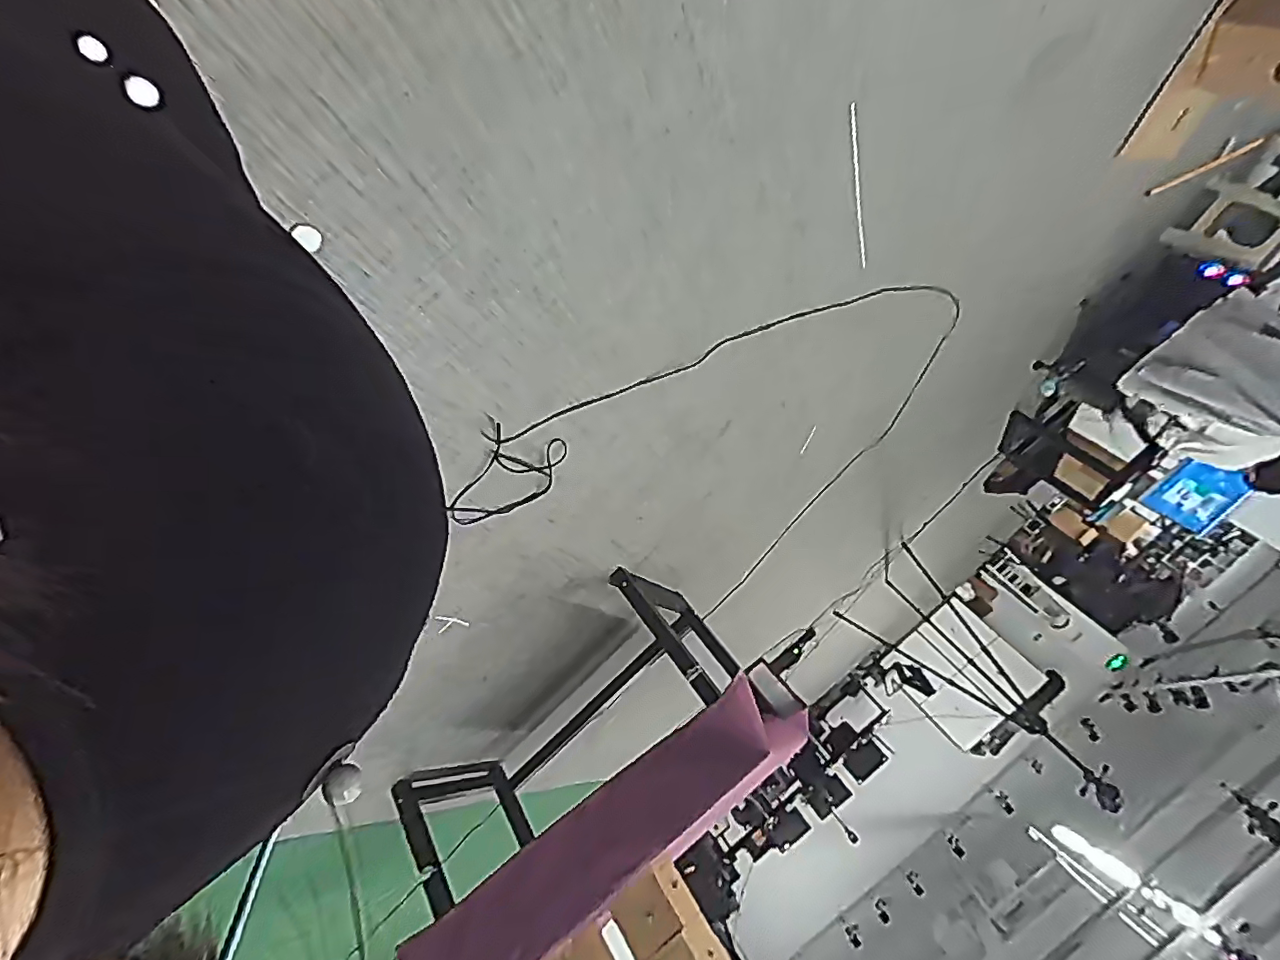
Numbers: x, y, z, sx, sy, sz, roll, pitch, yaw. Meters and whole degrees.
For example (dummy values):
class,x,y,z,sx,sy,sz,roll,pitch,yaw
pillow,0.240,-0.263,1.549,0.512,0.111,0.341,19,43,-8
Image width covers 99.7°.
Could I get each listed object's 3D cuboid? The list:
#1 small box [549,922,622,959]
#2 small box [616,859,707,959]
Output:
class,x,y,z,sx,sy,sz,roll,pitch,yaw
small box,-0.160,1.468,1.608,0.168,0.176,0.179,-43,146,0
small box,0.063,1.251,1.589,0.179,0.176,0.168,-43,147,0
